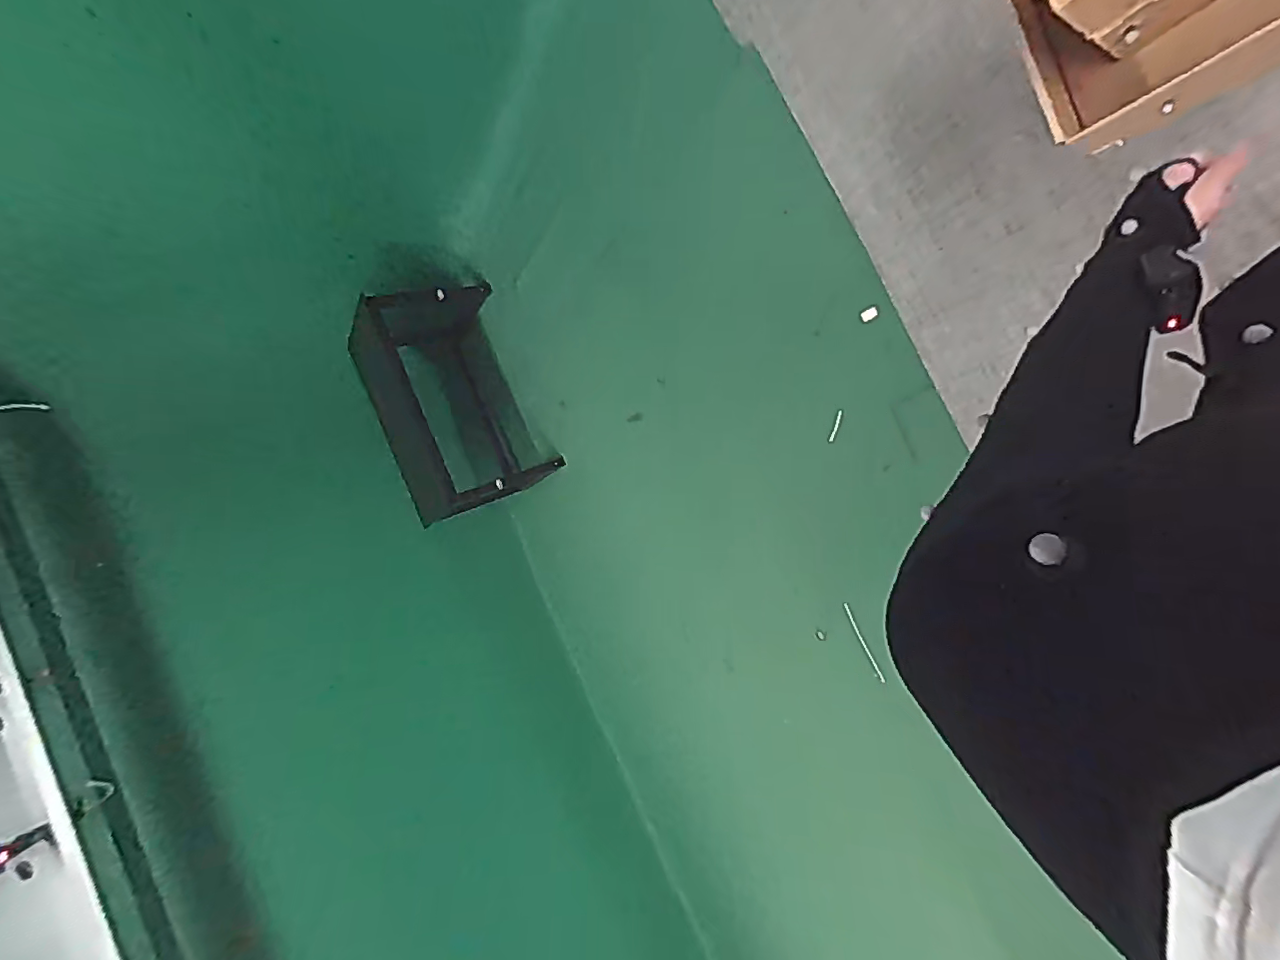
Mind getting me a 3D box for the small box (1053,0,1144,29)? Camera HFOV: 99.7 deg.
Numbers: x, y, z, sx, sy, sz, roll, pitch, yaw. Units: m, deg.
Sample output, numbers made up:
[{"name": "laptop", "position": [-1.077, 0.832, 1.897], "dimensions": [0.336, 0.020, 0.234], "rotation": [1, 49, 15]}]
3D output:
[{"name": "small box", "position": [0.559, -0.664, 0.607], "dimensions": [0.168, 0.176, 0.179], "rotation": [-17, 95, 52]}]
